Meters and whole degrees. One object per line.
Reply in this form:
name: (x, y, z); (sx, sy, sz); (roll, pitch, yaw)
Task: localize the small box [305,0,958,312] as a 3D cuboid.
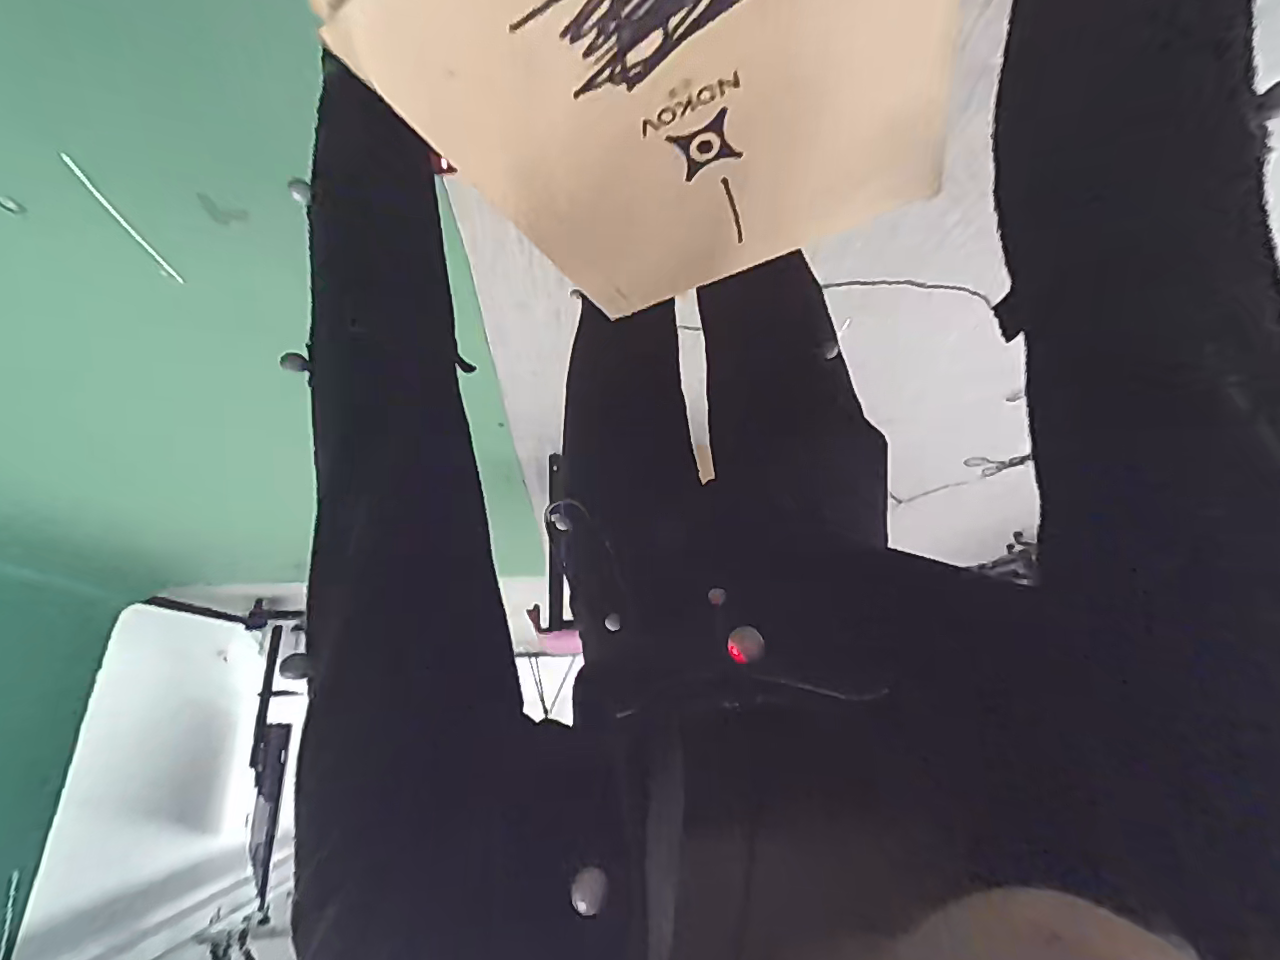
small box: (0.007, -0.202, 0.206); (0.168, 0.176, 0.179); (-14, 163, 22)

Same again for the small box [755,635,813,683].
small box: (0.552, 0.700, 2.105); (0.168, 0.176, 0.179); (0, 158, -6)
